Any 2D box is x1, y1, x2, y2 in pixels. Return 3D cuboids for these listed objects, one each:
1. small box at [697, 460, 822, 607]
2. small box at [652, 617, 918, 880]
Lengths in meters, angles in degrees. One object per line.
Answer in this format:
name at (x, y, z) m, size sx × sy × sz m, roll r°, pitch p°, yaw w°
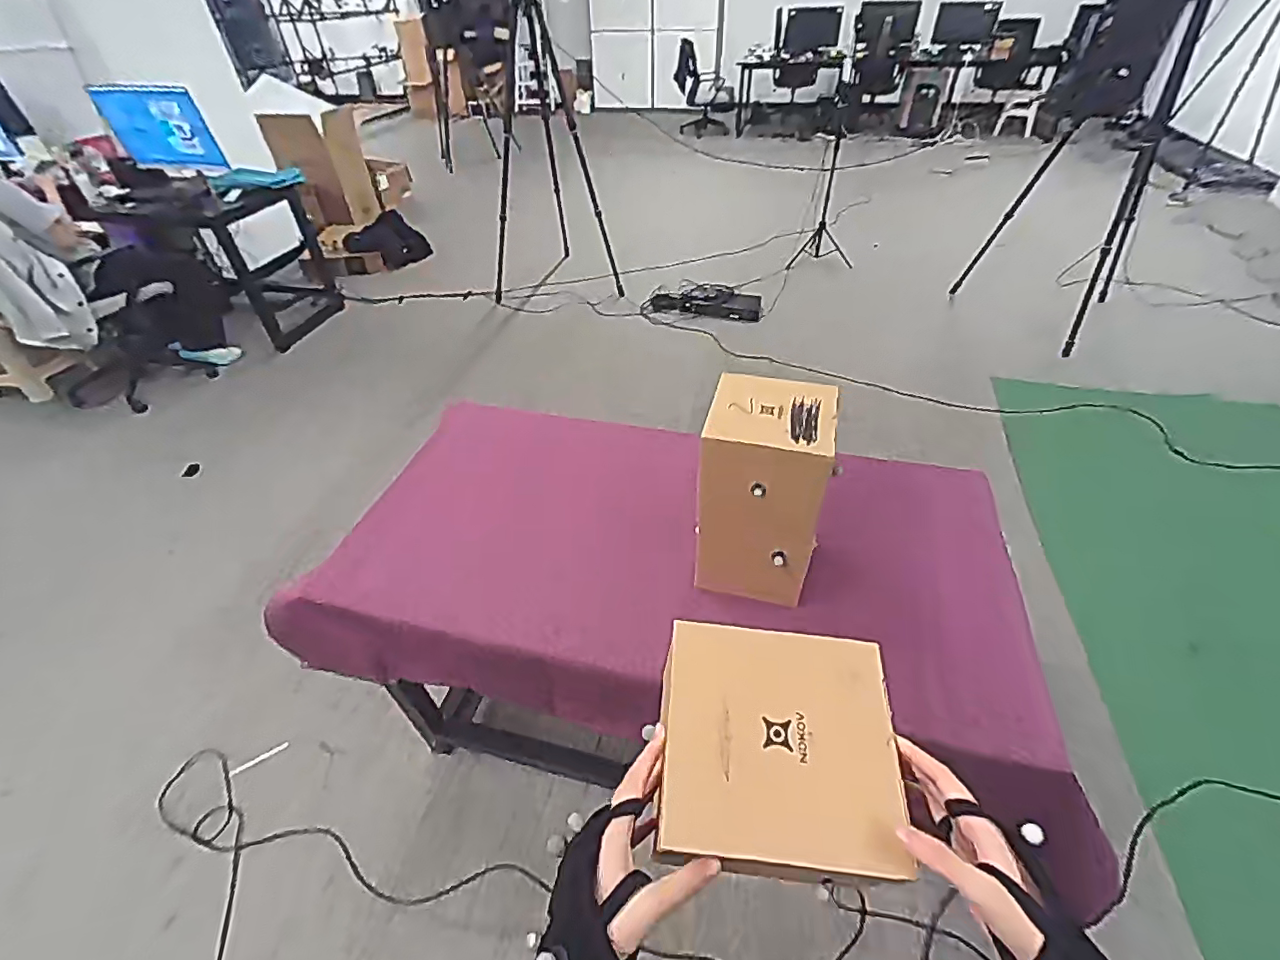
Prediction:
small box at (0.200, 0.092, 0.918) m, size 0.179 × 0.176 × 0.168 m, roll 9°, pitch 44°, yaw 13°
small box at (0.107, 0.240, 0.475) m, size 0.179 × 0.176 × 0.168 m, roll 5°, pitch 51°, yaw 3°
